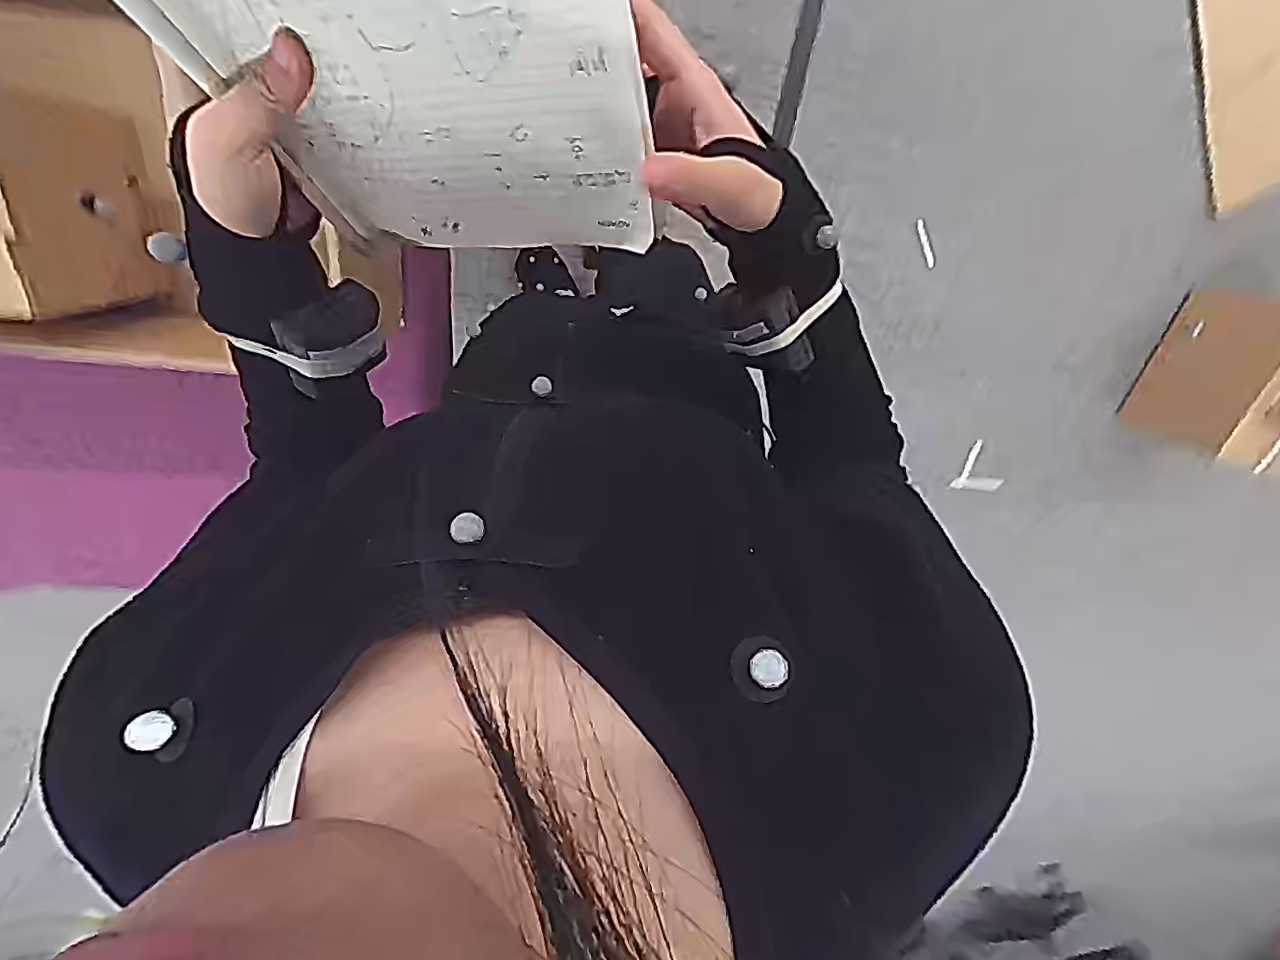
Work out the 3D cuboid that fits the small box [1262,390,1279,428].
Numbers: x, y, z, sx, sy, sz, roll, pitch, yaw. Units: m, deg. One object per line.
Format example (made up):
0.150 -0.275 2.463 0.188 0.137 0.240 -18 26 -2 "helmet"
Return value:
1.682 -0.183 1.291 0.179 0.176 0.168 1 118 -9 "small box"
